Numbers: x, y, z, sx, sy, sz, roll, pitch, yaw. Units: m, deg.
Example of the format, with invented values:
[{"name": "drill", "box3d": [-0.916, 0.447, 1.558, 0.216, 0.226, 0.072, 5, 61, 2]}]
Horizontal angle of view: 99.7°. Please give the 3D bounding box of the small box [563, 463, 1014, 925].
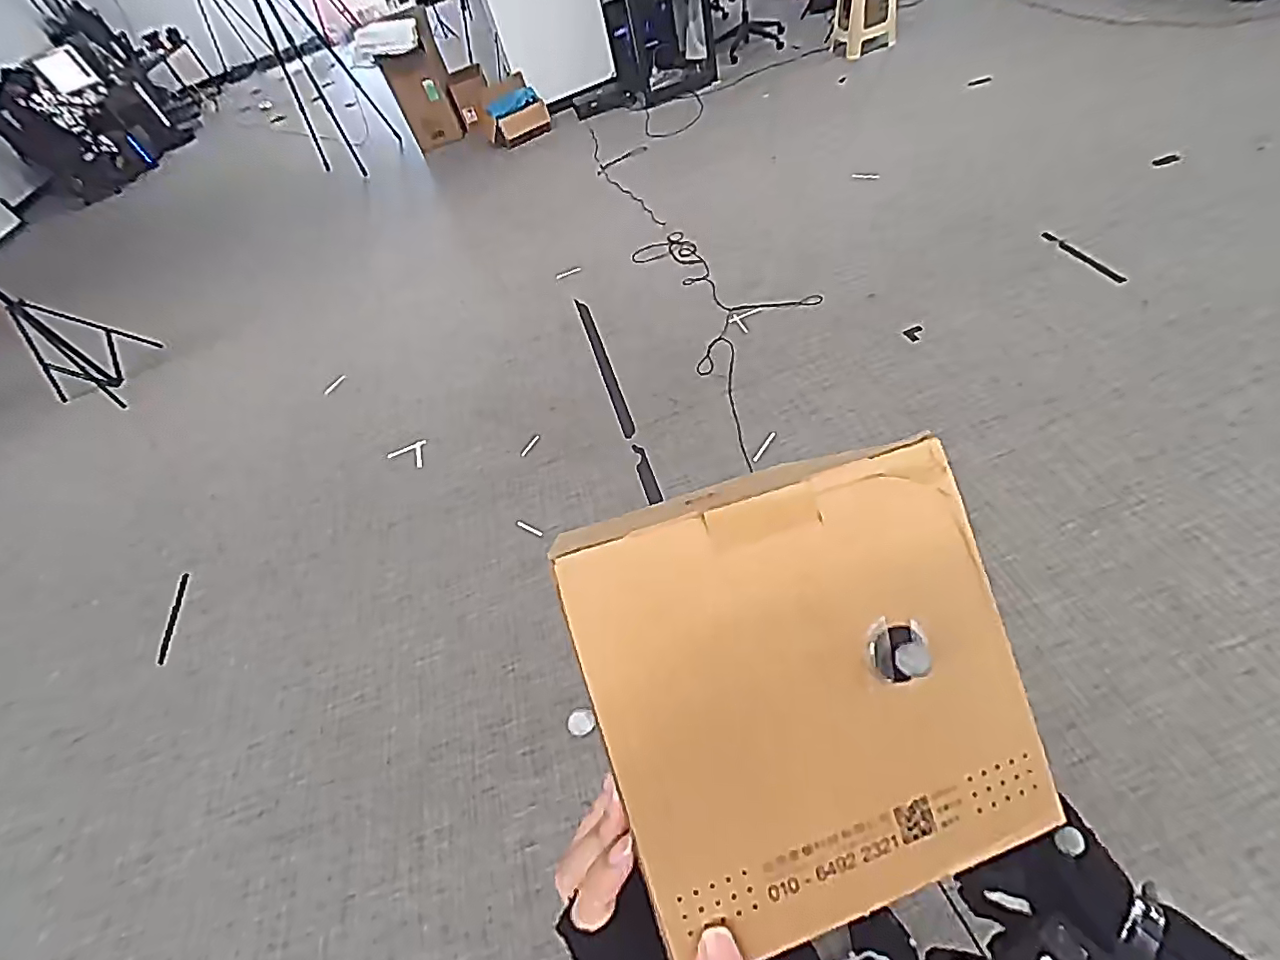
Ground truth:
[{"name": "small box", "box3d": [0.062, 0.100, 0.307, 0.168, 0.179, 0.176, -17, 89, -7]}]
